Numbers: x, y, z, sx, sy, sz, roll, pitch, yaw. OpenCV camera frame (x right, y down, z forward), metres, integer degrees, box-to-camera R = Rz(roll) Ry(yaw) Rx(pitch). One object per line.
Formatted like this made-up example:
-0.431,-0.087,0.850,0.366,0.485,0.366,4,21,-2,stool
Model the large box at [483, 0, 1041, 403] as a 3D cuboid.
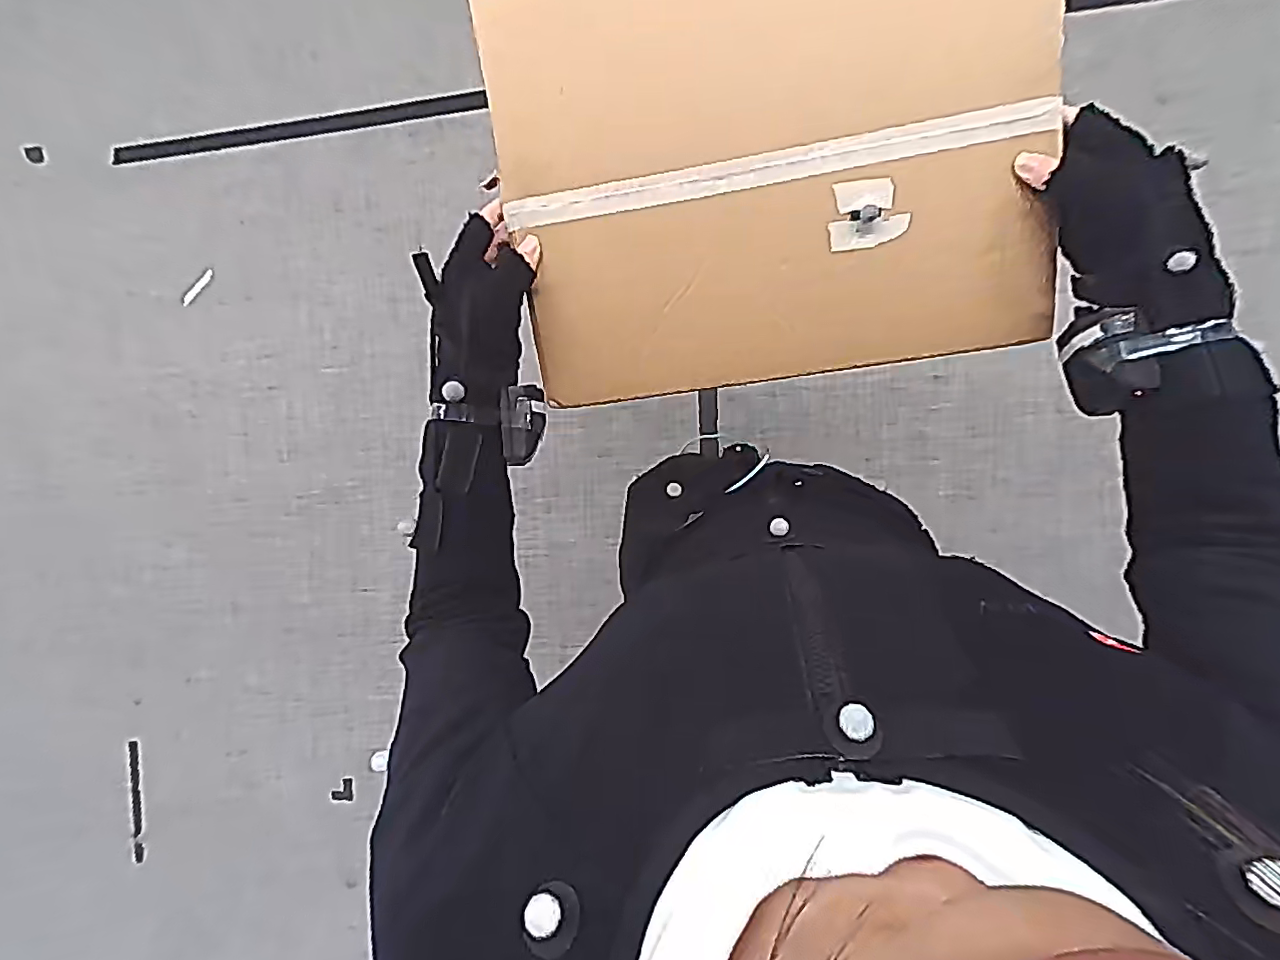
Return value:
0.107,-0.278,0.565,0.408,0.320,0.320,-7,105,6,large box
